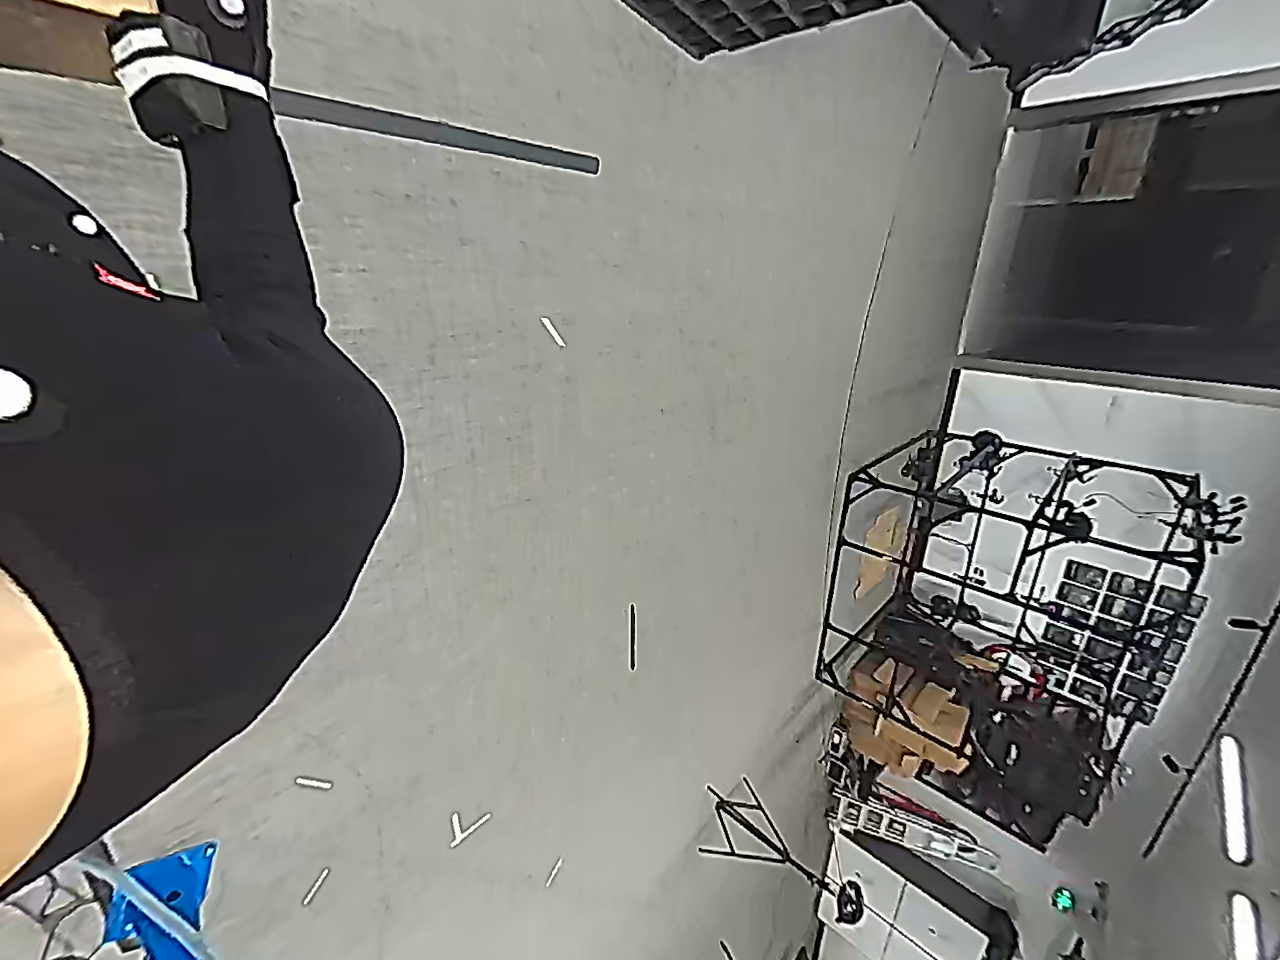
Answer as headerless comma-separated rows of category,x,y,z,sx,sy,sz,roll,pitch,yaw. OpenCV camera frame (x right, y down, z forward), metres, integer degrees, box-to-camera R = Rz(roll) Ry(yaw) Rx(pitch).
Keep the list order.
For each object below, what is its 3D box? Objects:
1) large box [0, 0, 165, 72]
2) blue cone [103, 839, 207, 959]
large box,-0.565,-0.455,0.265,0.408,0.320,0.320,-22,125,-46
blue cone,-1.119,1.078,1.282,0.193,0.380,0.192,11,96,-51
